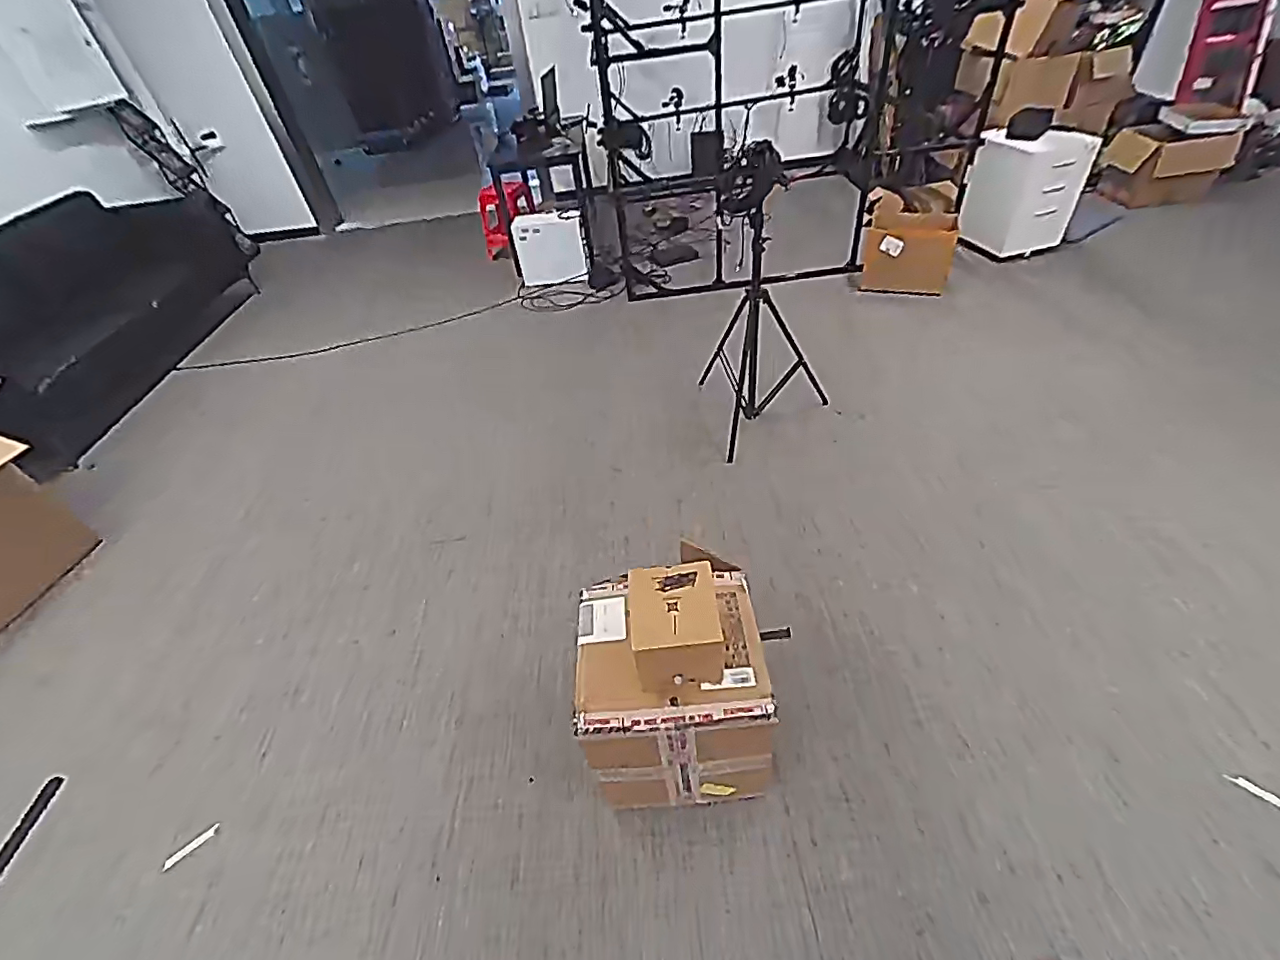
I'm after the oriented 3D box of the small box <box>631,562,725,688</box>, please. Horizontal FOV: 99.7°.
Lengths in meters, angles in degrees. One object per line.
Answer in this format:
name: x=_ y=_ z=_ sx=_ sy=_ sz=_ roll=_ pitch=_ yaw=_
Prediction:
small box: x=0.073 y=0.288 z=1.070 sx=0.168 sy=0.176 sz=0.179 roll=-7 pitch=46 yaw=2
